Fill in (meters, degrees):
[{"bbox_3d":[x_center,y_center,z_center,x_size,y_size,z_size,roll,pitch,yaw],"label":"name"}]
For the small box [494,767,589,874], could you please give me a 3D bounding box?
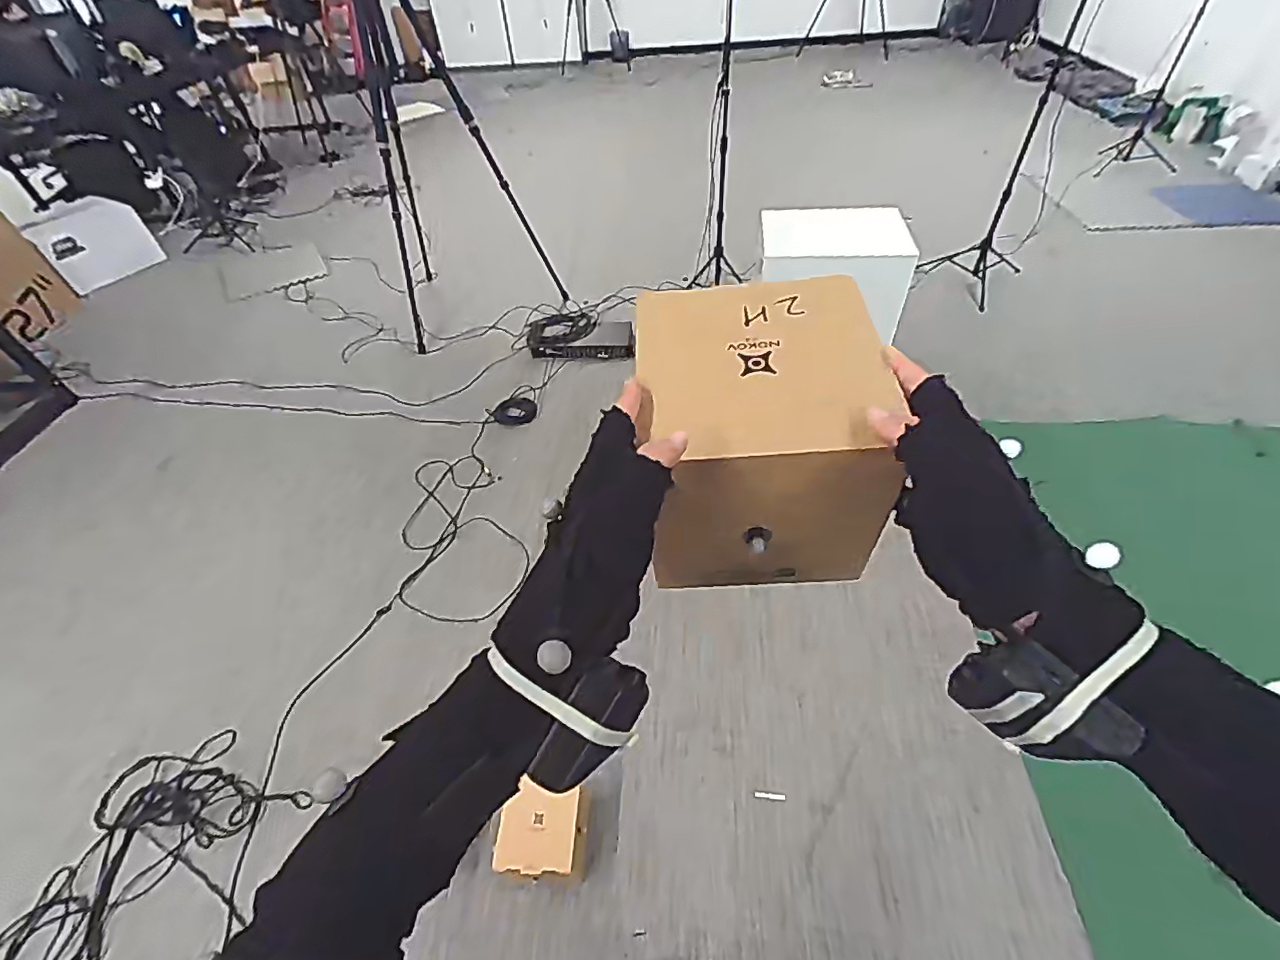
[{"bbox_3d":[-0.211,0.765,1.215,0.168,0.176,0.179,-1,49,4],"label":"small box"}]
